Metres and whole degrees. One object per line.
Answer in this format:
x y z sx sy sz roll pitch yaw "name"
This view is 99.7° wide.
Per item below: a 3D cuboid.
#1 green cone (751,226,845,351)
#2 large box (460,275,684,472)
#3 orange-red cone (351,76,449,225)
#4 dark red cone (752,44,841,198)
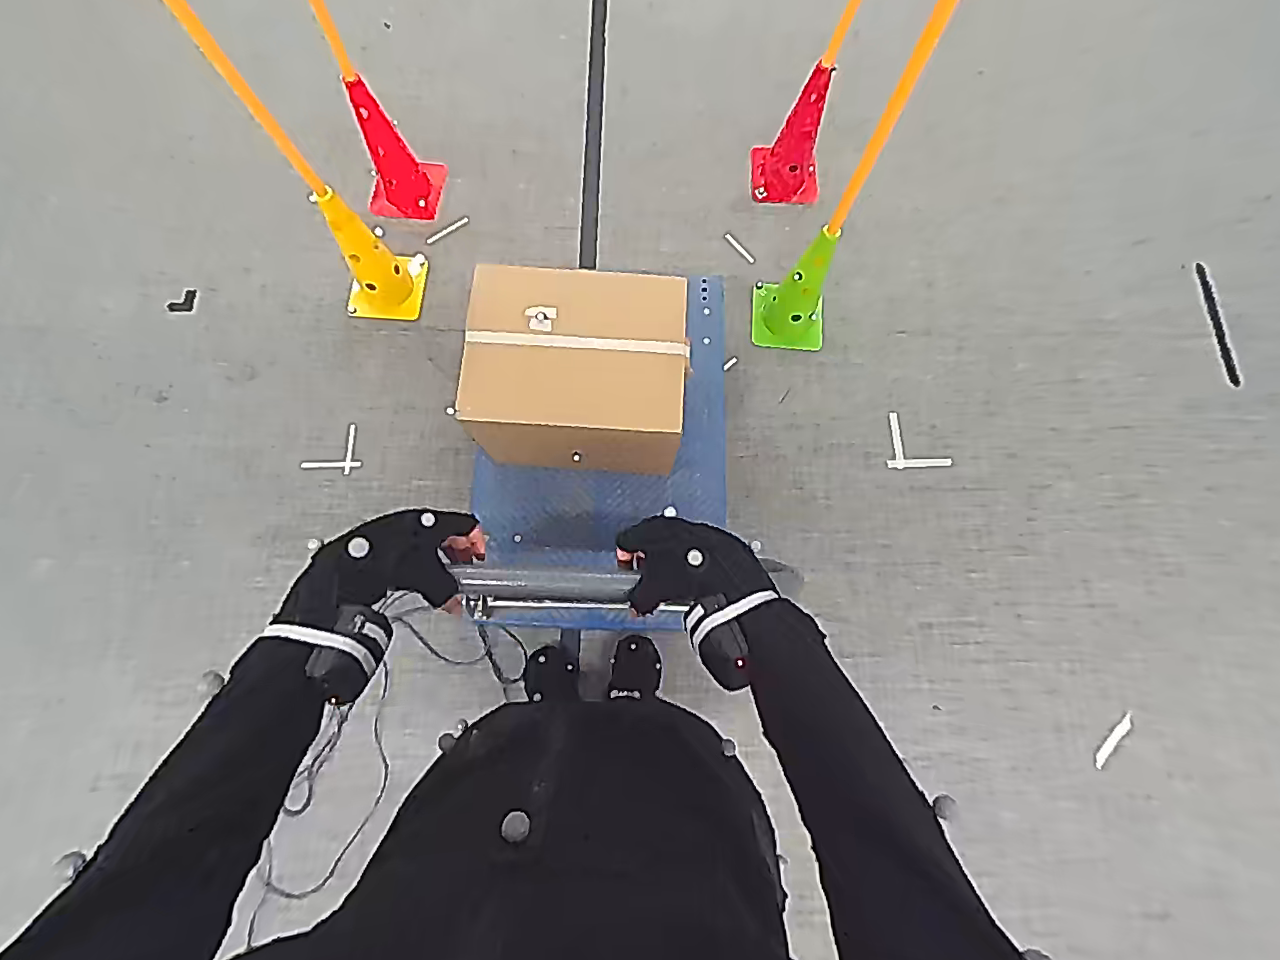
0.426 -0.506 1.379 0.202 0.368 0.200 5 76 -1 "green cone"
-0.119 -0.204 1.145 0.408 0.320 0.320 3 76 1 "large box"
-0.680 -0.905 1.457 0.198 0.360 0.199 8 75 0 "orange-red cone"
0.451 -0.980 1.479 0.201 0.394 0.202 1 76 -3 "dark red cone"
